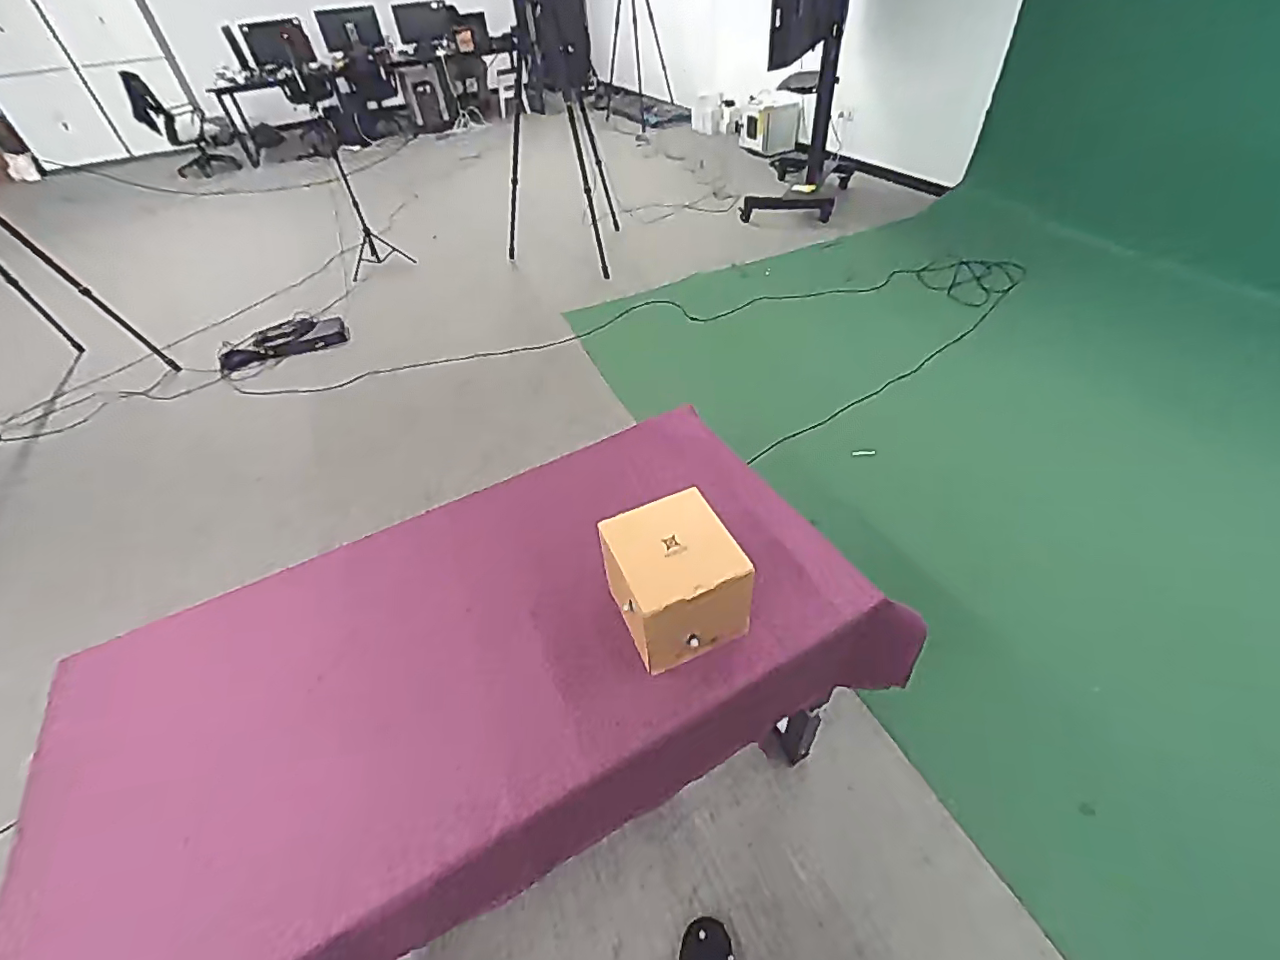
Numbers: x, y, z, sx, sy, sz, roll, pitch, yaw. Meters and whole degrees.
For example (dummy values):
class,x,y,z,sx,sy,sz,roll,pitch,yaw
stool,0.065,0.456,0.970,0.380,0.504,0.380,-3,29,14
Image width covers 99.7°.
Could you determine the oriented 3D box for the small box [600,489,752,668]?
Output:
class,x,y,z,sx,sy,sz,roll,pitch,yaw
small box,0.050,0.149,0.823,0.168,0.176,0.179,-20,47,-14
